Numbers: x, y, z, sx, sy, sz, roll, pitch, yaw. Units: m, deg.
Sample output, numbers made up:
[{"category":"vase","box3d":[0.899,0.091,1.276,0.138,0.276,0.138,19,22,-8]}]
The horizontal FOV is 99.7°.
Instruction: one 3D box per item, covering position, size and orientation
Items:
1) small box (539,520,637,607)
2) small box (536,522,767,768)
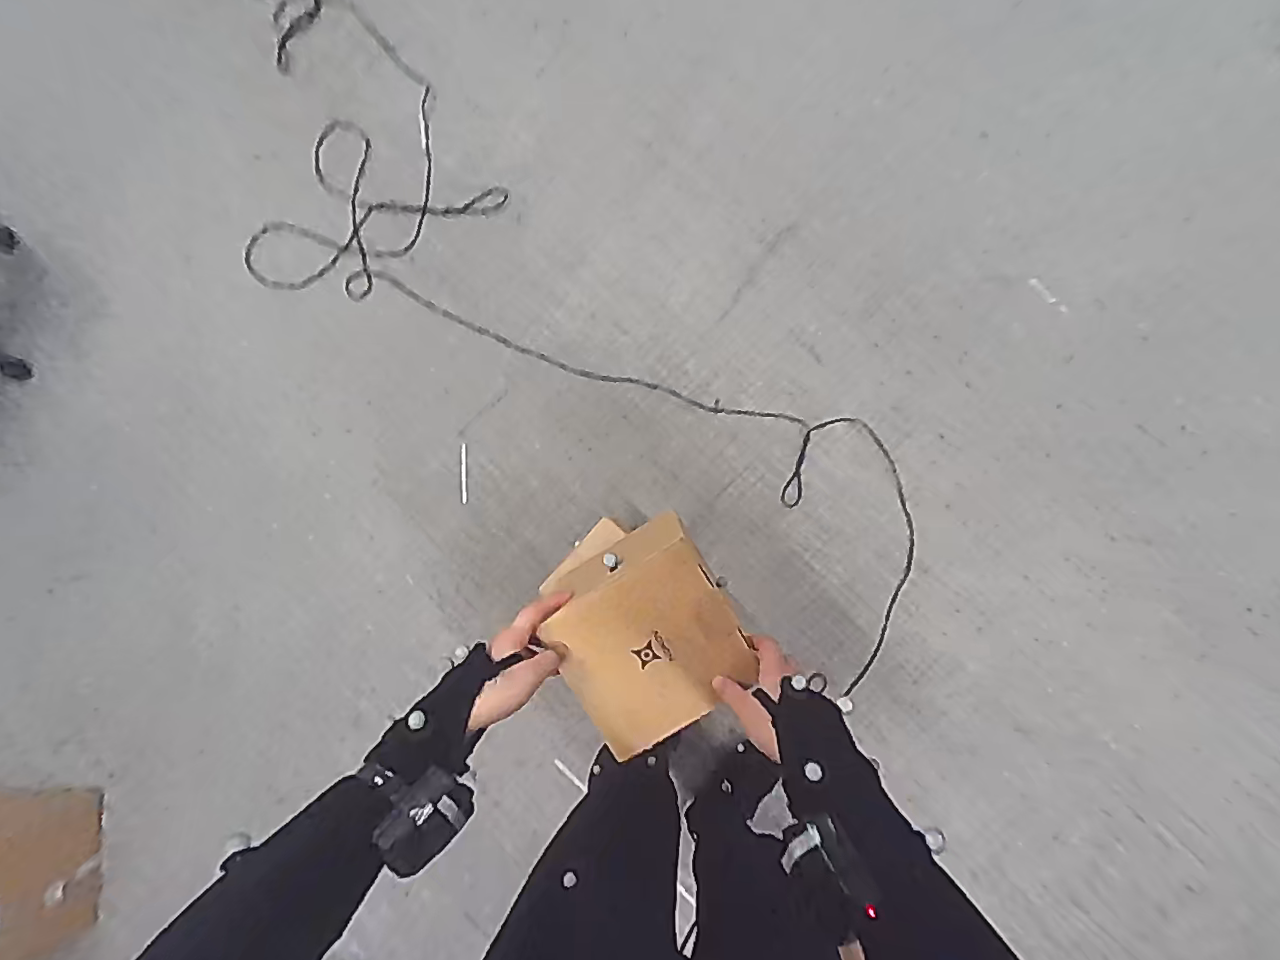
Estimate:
[{"category":"small box","box3d":[-0.053,0.193,1.005,0.168,0.176,0.179,42,89,6]},{"category":"small box","box3d":[0.012,0.168,0.605,0.179,0.176,0.168,-32,96,3]}]
